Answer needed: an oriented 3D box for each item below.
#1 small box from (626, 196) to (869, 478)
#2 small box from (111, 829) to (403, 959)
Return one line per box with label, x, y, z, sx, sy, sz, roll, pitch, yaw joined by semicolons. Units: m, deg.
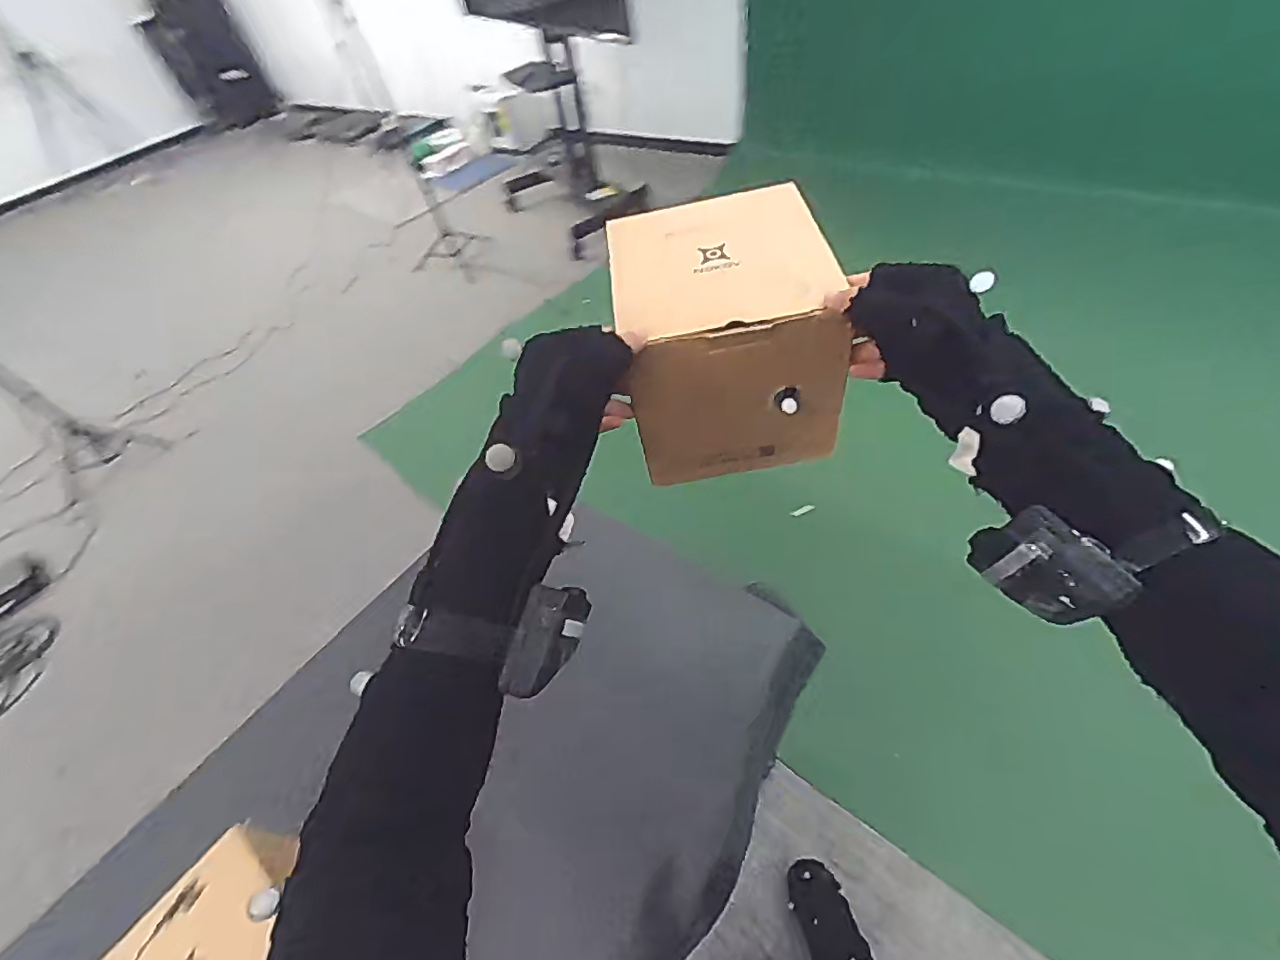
small box;0.085;-0.116;0.482;0.168;0.176;0.179;-9;51;5
small box;-0.379;0.494;0.543;0.179;0.176;0.168;26;59;29
